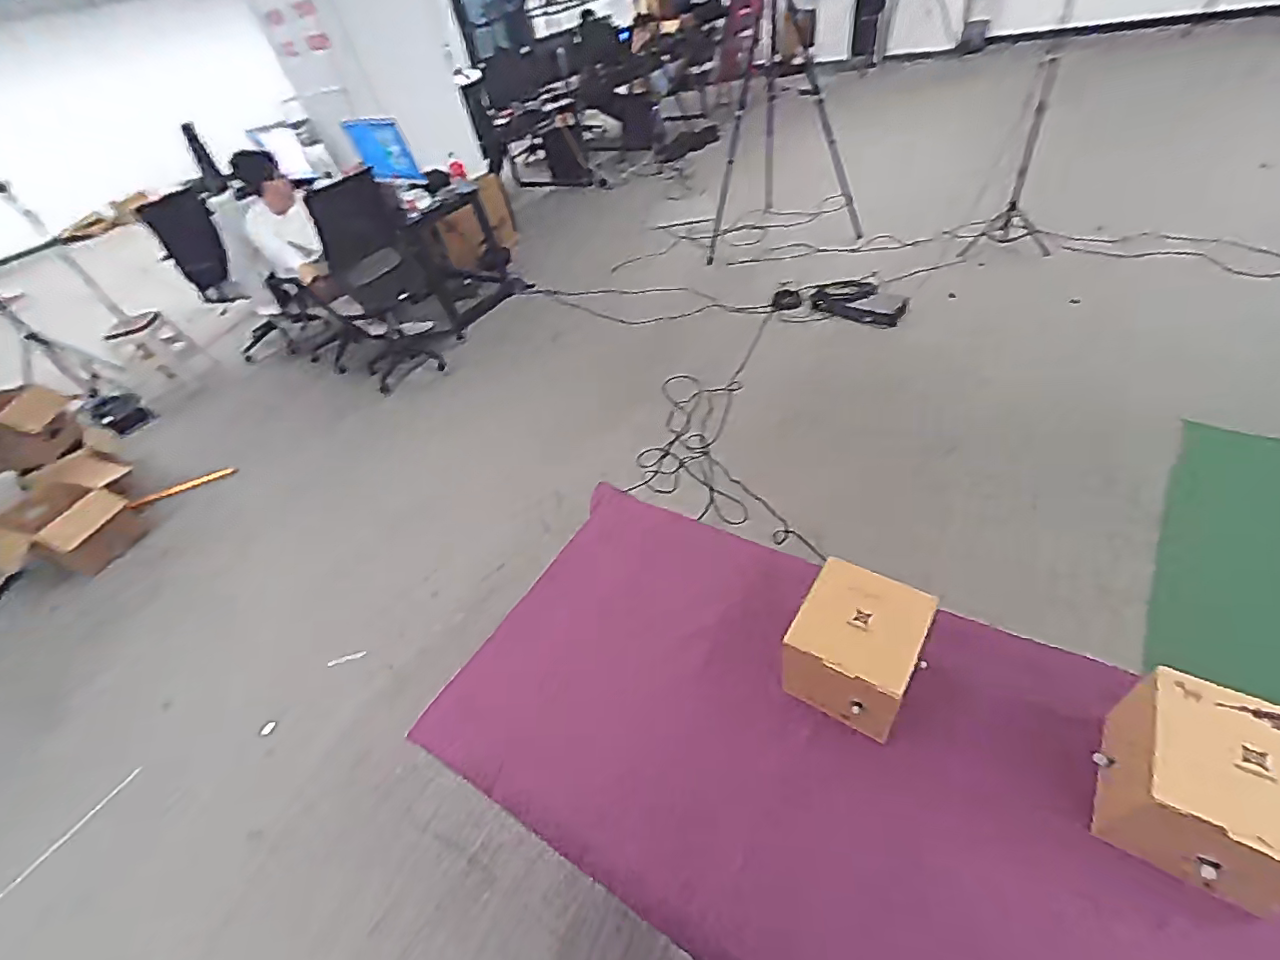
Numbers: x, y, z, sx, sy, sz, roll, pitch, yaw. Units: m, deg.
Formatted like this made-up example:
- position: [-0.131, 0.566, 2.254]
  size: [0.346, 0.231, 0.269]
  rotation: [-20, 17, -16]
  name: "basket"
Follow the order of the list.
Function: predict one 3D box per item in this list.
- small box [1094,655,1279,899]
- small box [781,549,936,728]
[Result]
- position: [0.674, 0.350, 0.640]
  size: [0.168, 0.176, 0.179]
  rotation: [18, 54, 30]
  name: "small box"
- position: [0.333, 0.247, 0.840]
  size: [0.168, 0.176, 0.179]
  rotation: [21, 55, 31]
  name: "small box"
